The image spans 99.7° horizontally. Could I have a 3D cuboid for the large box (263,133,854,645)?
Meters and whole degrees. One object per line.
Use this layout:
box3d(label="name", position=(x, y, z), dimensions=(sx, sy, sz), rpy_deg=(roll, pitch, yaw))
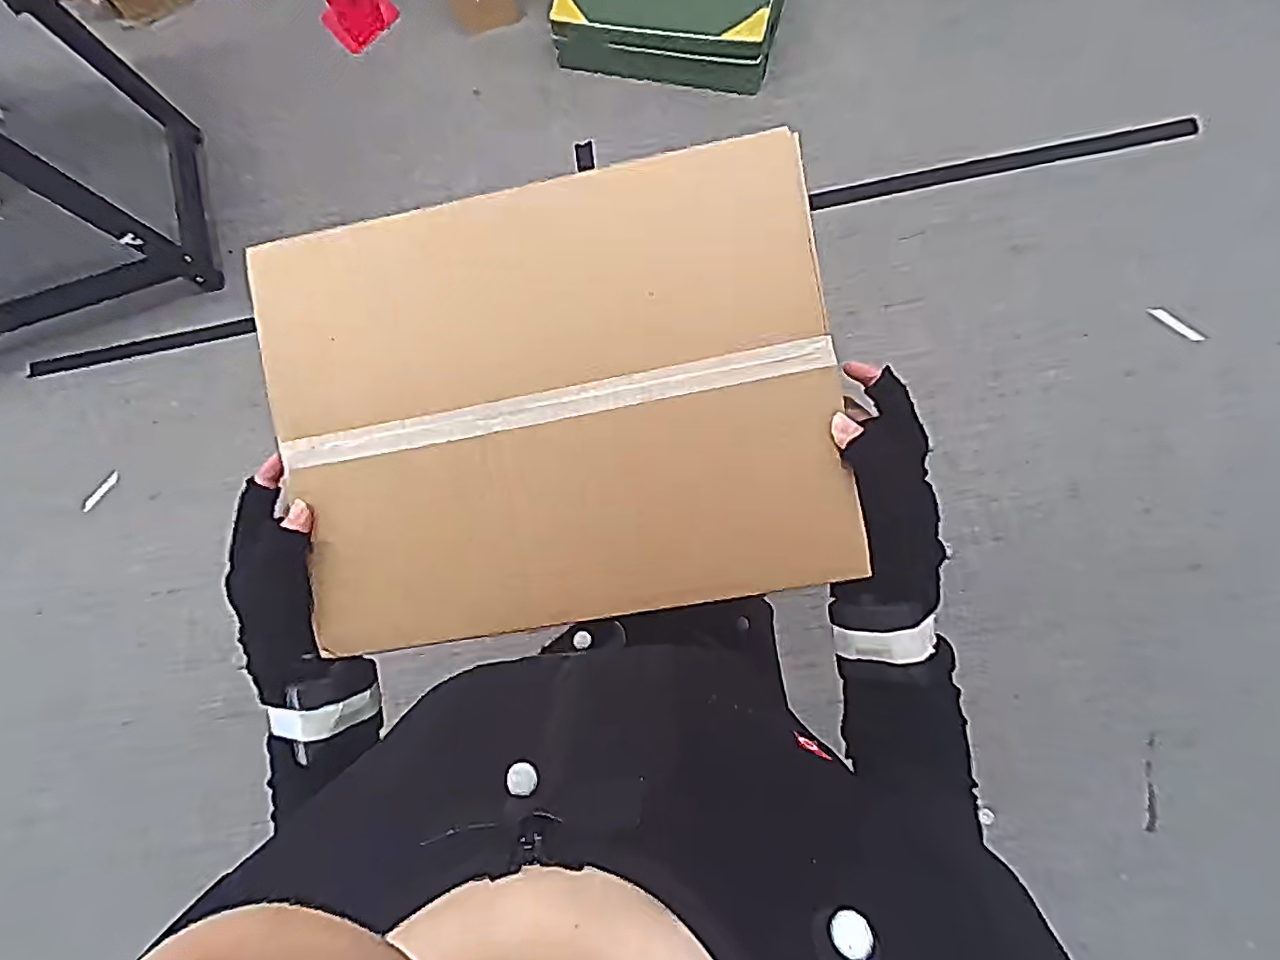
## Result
box3d(label="large box", position=(-0.054, -0.064, 0.545), dimensions=(0.408, 0.320, 0.320), rpy_deg=(-10, 90, 5))
